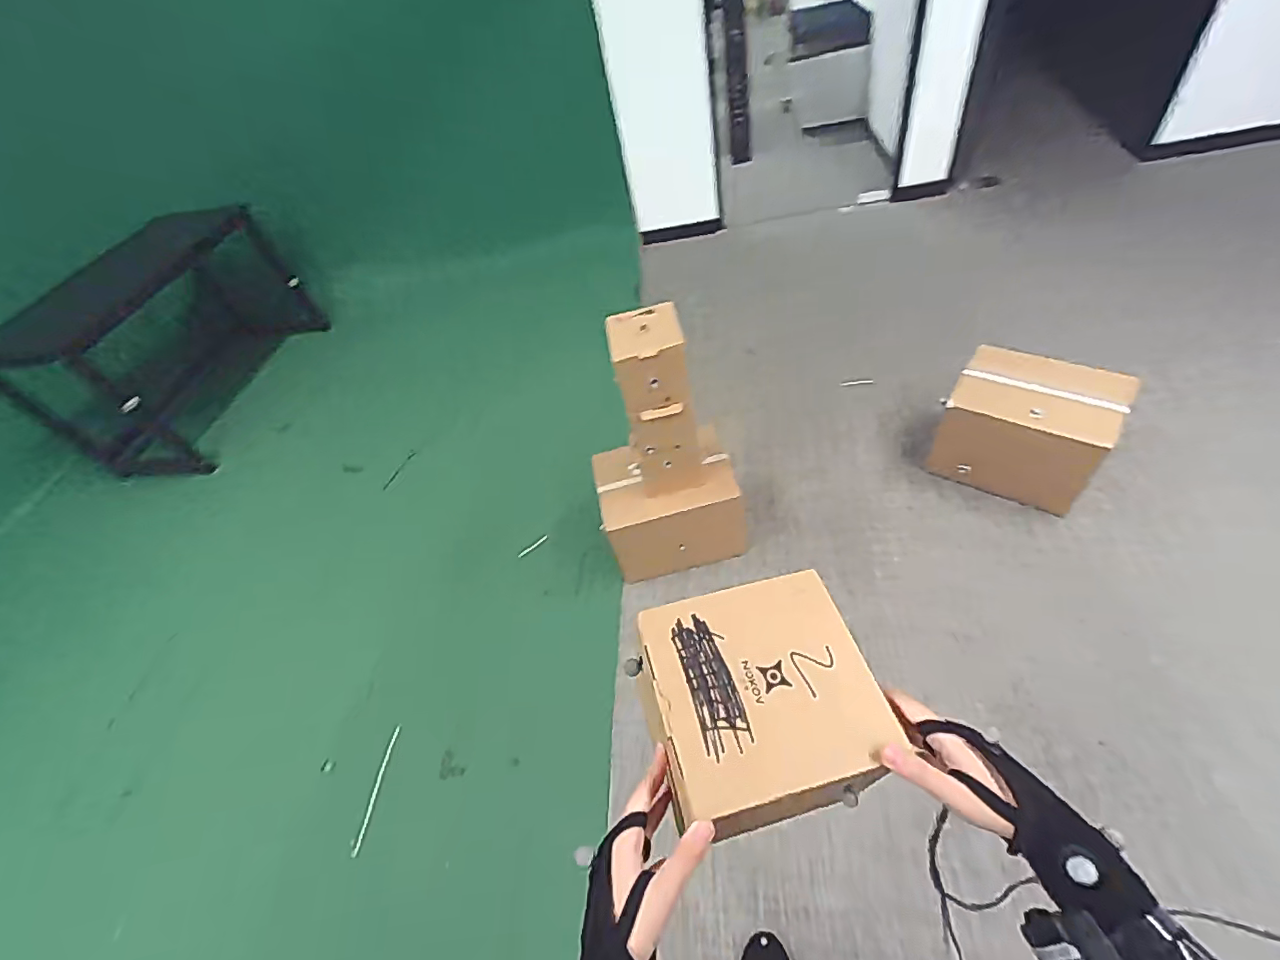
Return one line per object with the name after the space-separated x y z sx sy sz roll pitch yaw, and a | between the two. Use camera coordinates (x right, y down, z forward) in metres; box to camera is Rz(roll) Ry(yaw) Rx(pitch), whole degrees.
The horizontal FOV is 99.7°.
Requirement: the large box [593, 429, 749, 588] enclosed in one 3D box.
0.101 0.097 1.729 0.408 0.320 0.320 -16 47 2 | large box

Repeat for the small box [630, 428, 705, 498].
0.080 -0.068 1.547 0.179 0.176 0.168 -13 49 3 | small box

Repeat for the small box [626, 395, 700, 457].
0.058 -0.178 1.427 0.168 0.176 0.179 -11 49 5 | small box

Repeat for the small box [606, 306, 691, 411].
0.022 -0.284 1.306 0.168 0.176 0.179 -12 50 4 | small box
